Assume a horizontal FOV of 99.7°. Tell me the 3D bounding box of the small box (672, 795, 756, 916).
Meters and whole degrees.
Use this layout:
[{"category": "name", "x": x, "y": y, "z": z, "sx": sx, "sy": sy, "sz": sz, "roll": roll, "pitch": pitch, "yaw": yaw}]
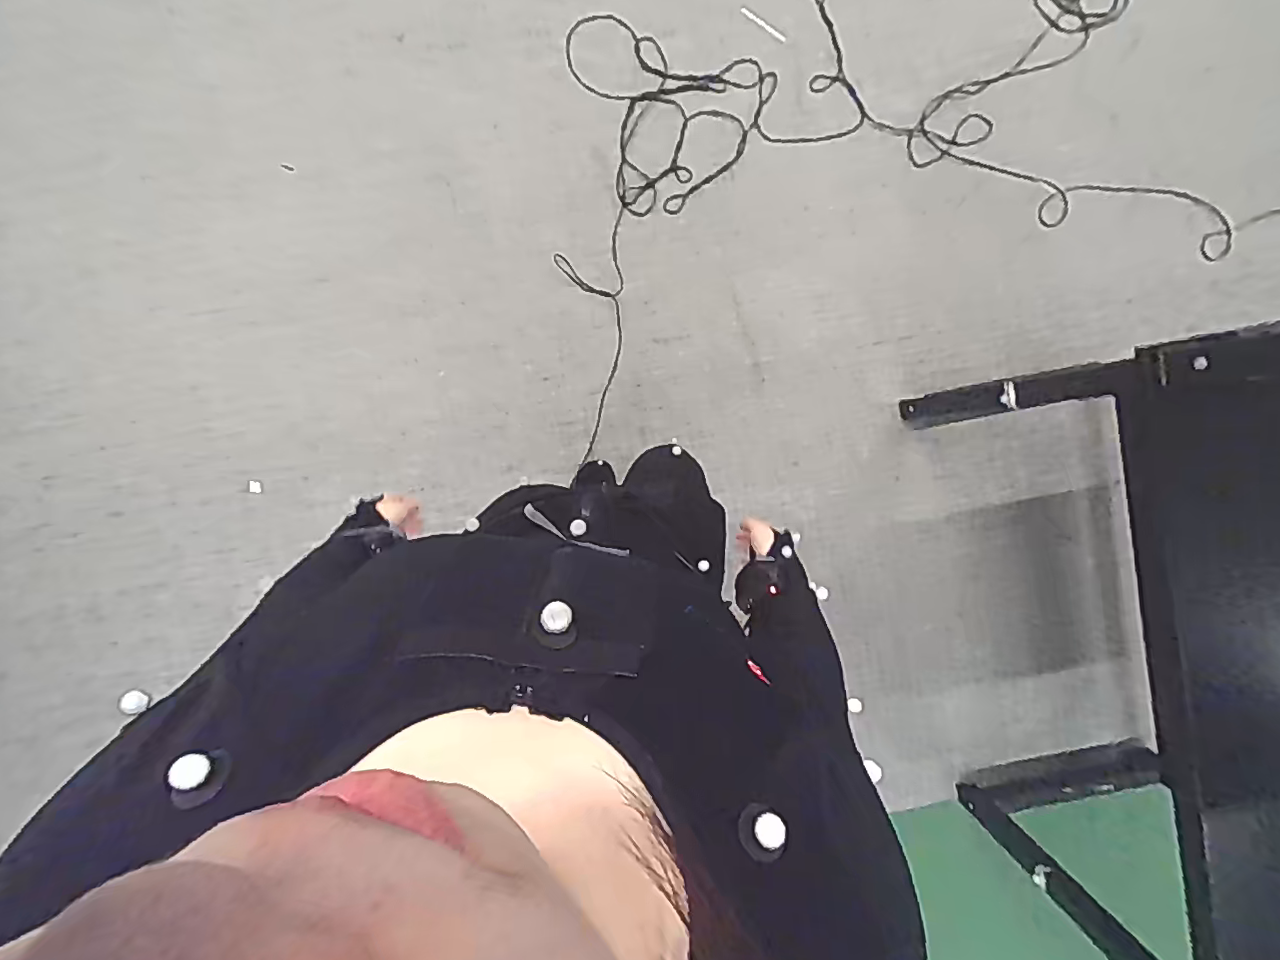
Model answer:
[{"category": "small box", "x": 0.171, "y": 0.889, "z": 1.302, "sx": 0.168, "sy": 0.176, "sz": 0.179, "roll": -8, "pitch": 94, "yaw": 0}]
